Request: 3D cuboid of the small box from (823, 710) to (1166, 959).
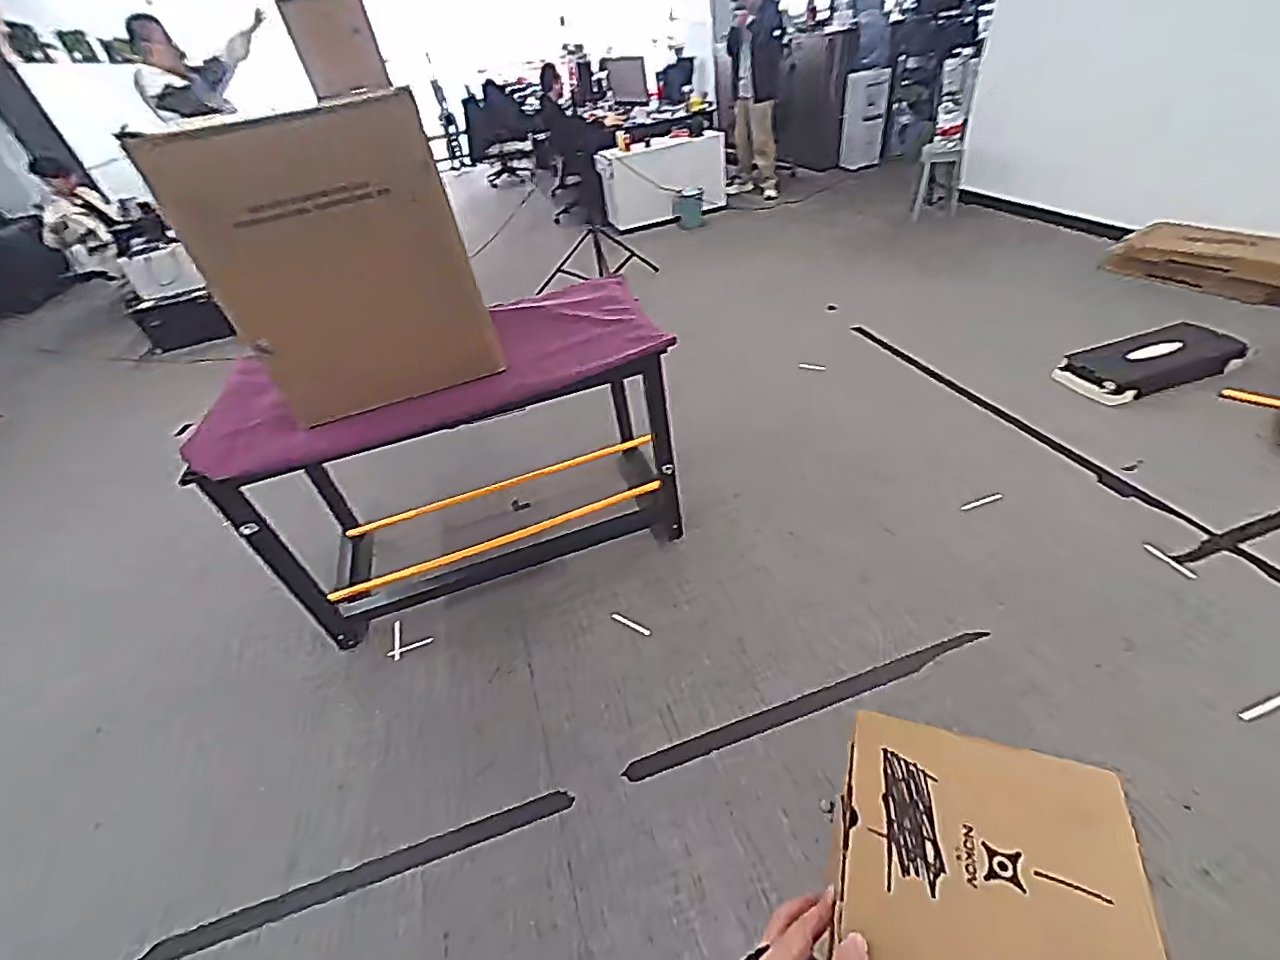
[{"bbox_3d":[0.238,0.307,0.404,0.179,0.176,0.168,7,43,19],"label":"small box"}]
